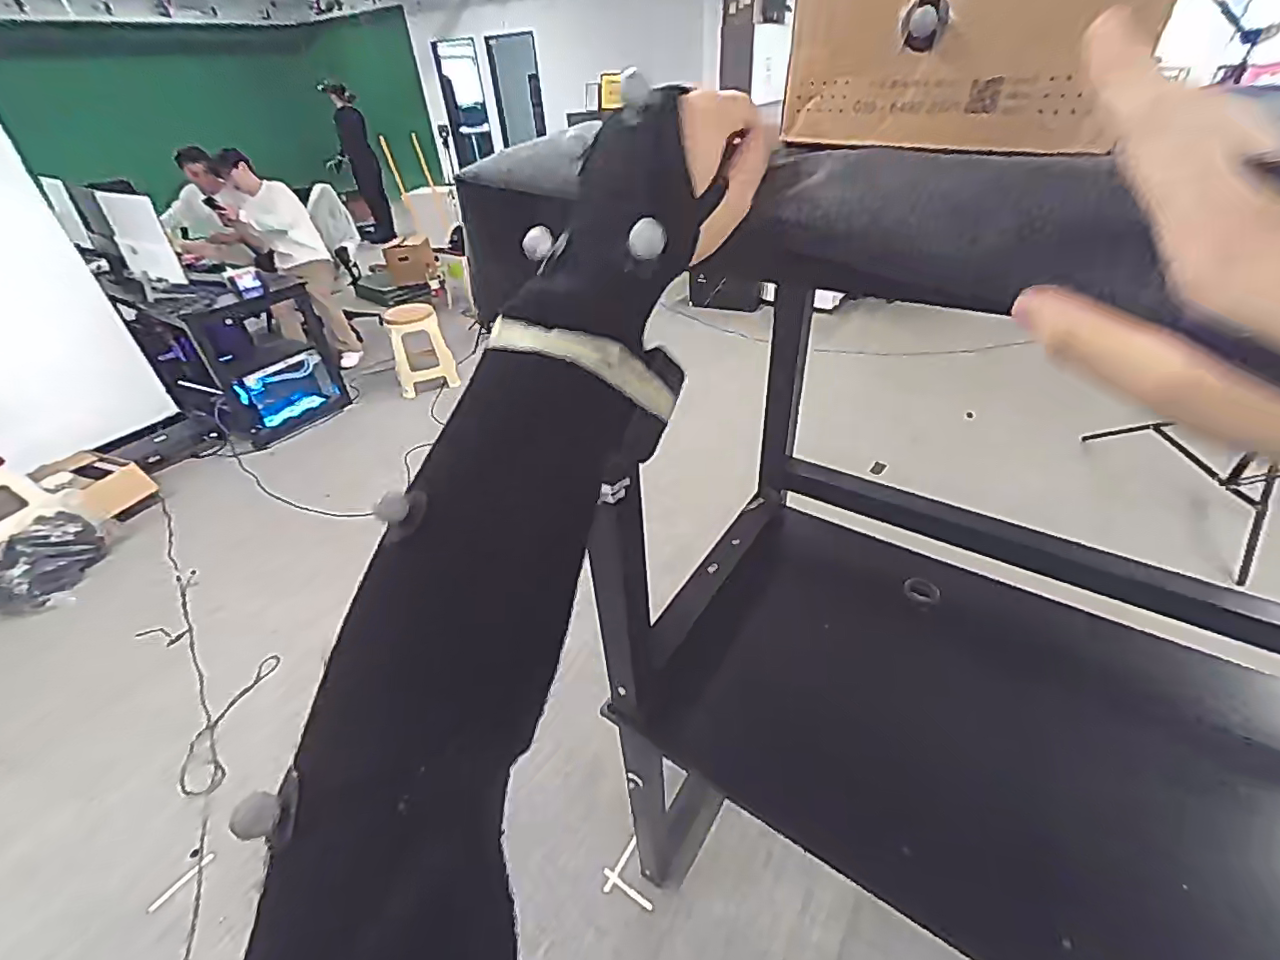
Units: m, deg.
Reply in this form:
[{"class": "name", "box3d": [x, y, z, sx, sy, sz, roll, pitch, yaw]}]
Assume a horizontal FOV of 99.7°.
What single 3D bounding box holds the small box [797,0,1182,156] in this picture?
[{"class": "small box", "box3d": [0.199, -0.287, 0.294, 0.168, 0.176, 0.179, 20, 42, 27]}]
